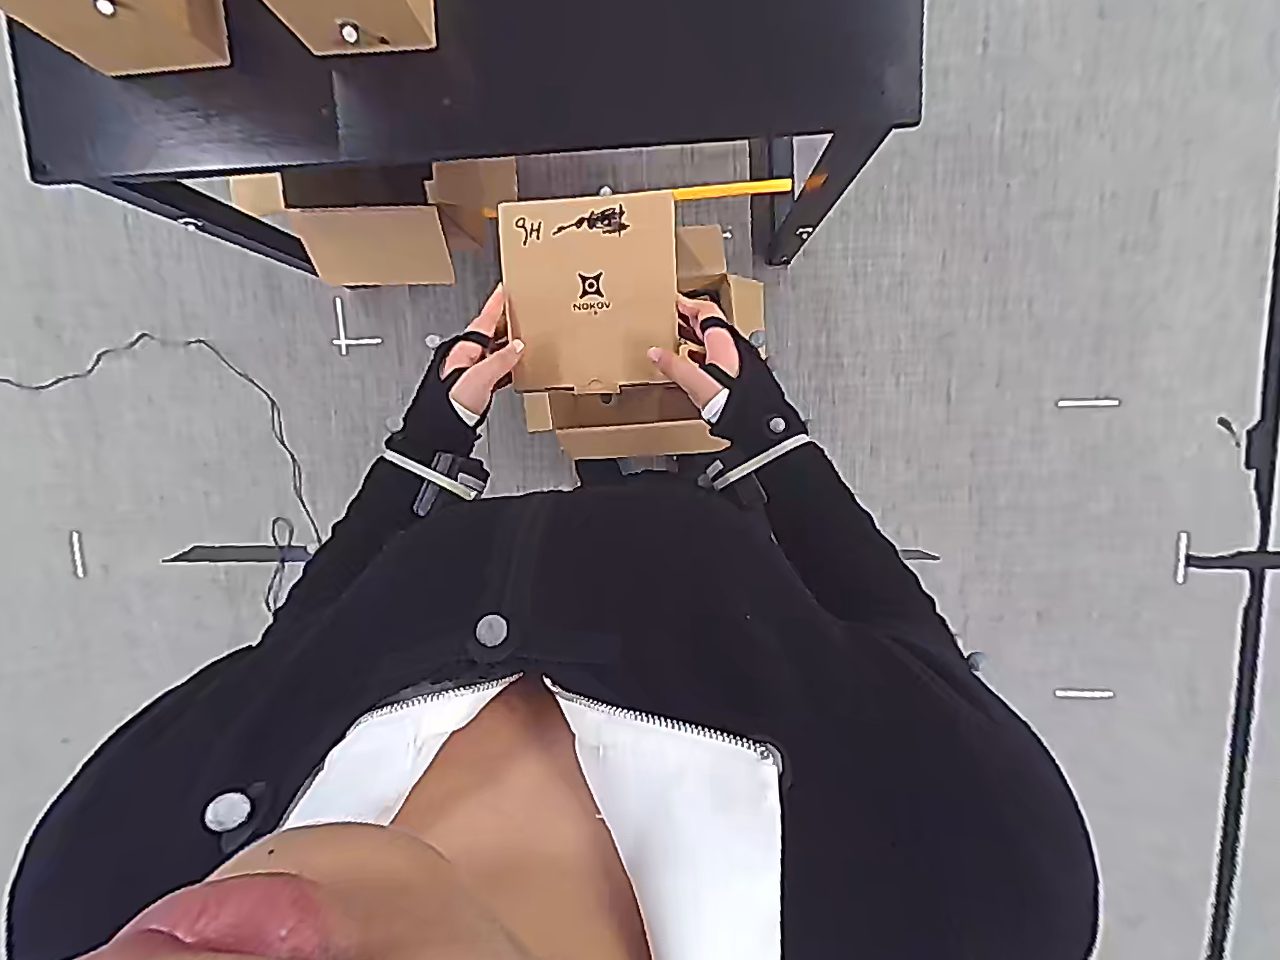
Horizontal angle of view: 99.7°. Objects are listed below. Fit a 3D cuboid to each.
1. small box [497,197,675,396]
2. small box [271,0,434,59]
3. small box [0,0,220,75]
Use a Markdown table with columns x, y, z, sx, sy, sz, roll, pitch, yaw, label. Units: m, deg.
| x | y | z | sx | sy | sz | roll | pitch | yaw | label |
| --- | --- | --- | --- | --- | --- | --- | --- | --- | --- |
| -0.046 | -0.187 | 0.594 | 0.168 | 0.176 | 0.179 | -3 | 100 | 3 | small box |
| -0.354 | -0.635 | 0.623 | 0.168 | 0.176 | 0.179 | -1 | 97 | 3 | small box |
| -0.638 | -0.618 | 0.636 | 0.179 | 0.176 | 0.168 | -3 | 96 | 3 | small box |
